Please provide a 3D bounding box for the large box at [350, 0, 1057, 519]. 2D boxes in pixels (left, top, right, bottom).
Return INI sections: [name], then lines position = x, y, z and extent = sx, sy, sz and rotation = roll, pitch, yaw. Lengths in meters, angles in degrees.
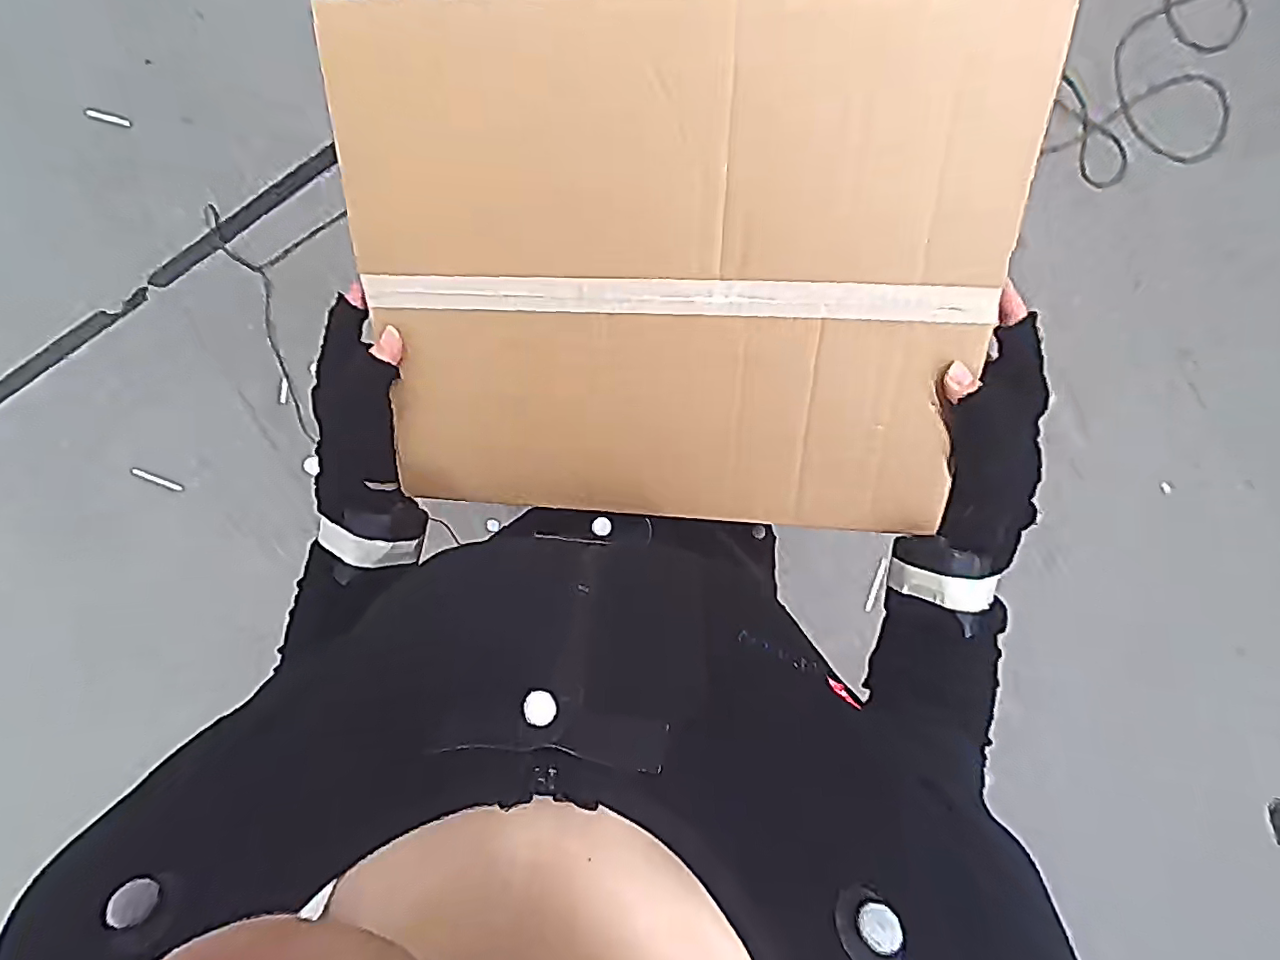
[large box]
position = 0.037, -0.178, 0.496
extent = 0.408, 0.320, 0.320
rotation = 4, 115, 6
